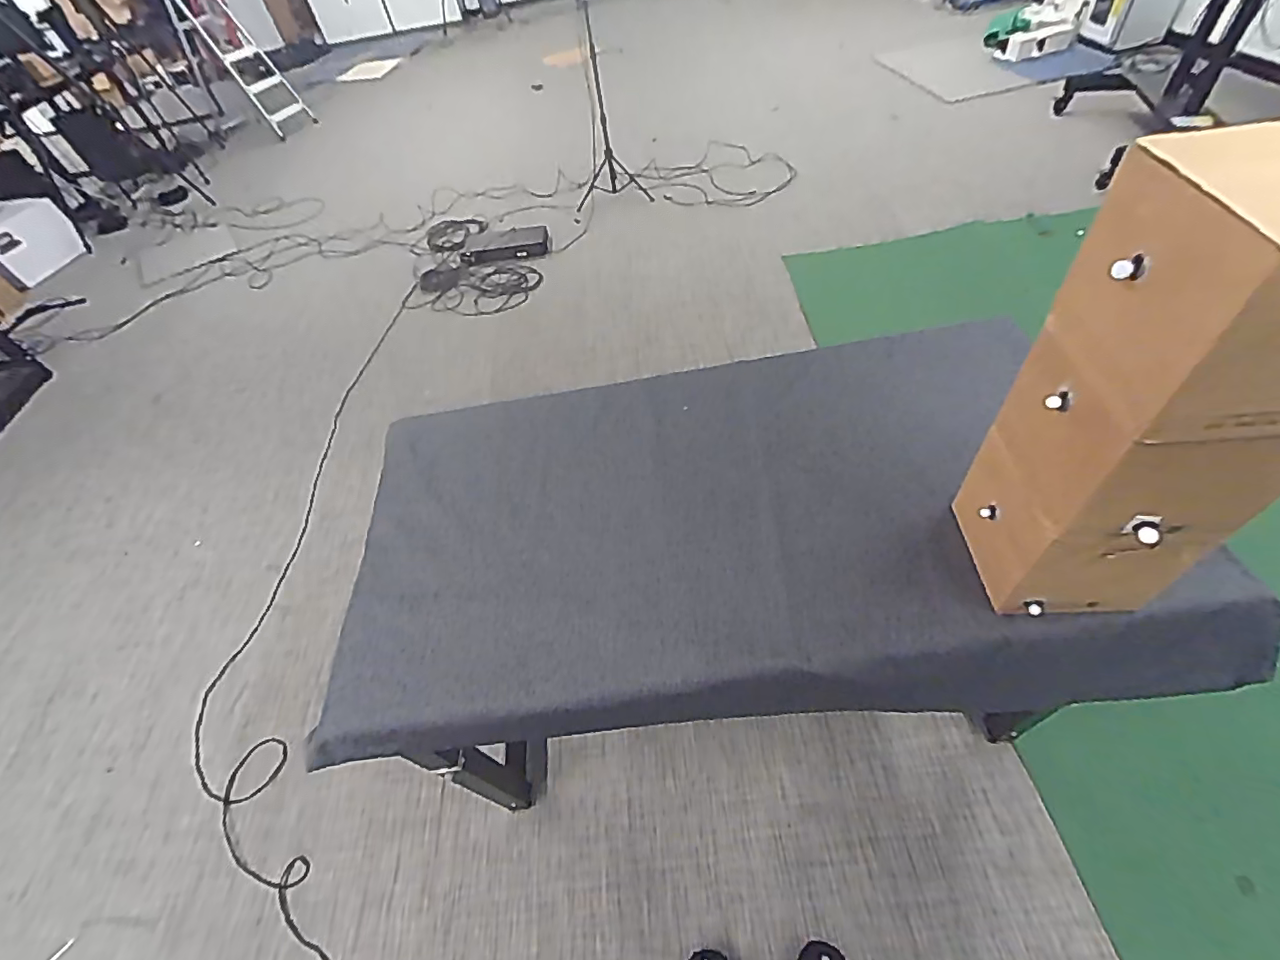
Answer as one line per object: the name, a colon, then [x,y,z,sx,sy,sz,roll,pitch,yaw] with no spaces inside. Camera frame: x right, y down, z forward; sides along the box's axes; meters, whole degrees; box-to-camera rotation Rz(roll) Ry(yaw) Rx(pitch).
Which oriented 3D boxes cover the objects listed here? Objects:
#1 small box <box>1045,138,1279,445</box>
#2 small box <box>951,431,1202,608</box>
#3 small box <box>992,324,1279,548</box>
small box: [0.473,-0.149,0.432,0.168,0.176,0.179,-3,49,9]
small box: [0.525,0.051,0.684,0.168,0.176,0.179,-3,49,8]
small box: [0.501,-0.048,0.558,0.168,0.176,0.179,-4,51,9]
